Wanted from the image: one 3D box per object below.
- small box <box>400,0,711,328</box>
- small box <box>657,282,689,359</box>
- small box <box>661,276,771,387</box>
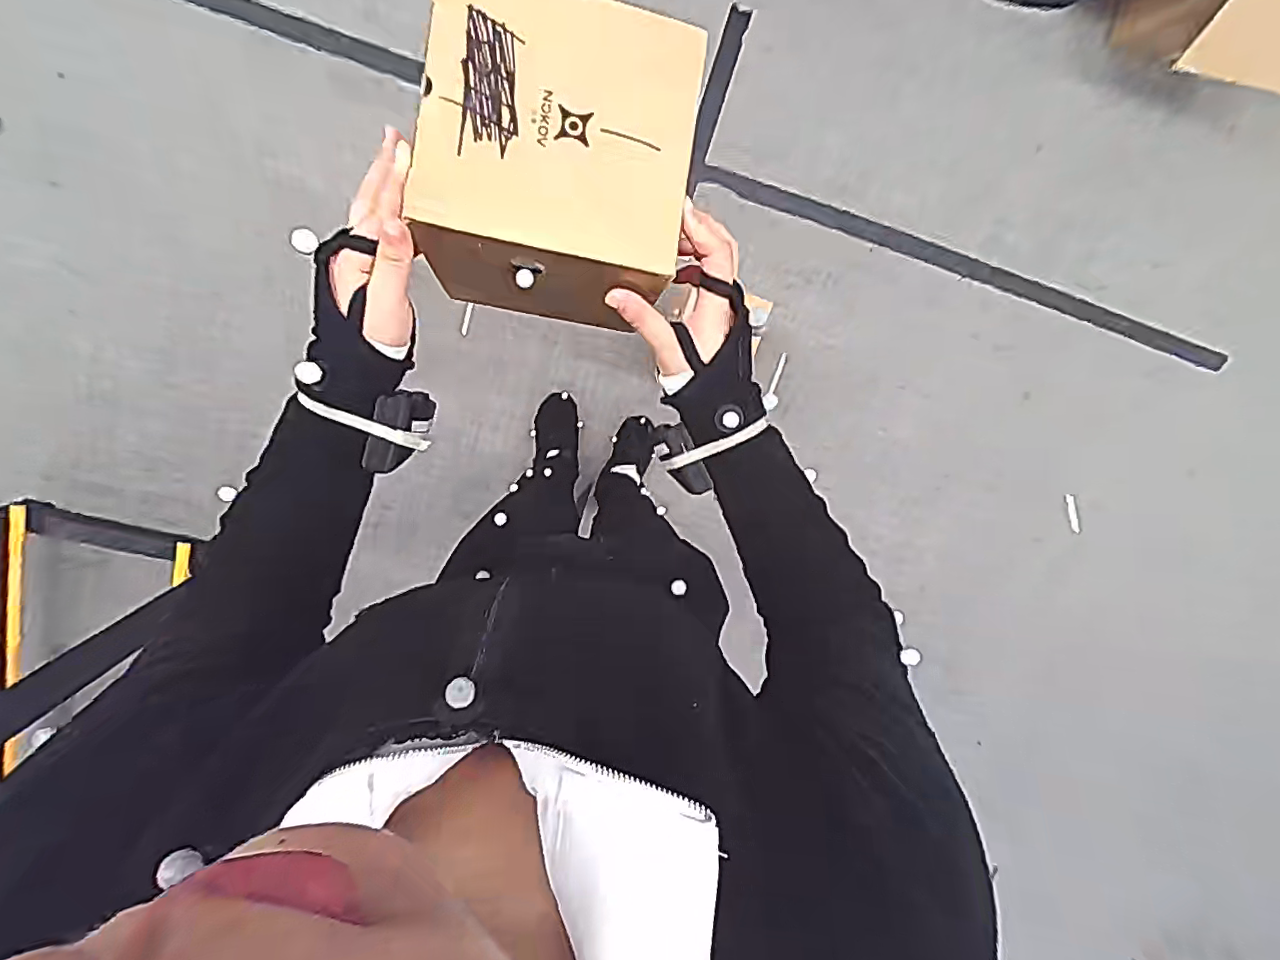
[{"bbox_3d":[-0.062,-0.228,0.421,0.179,0.176,0.168,9,92,-10],"label":"small box"},{"bbox_3d":[0.144,-0.363,1.314,0.168,0.176,0.179,16,104,-9],"label":"small box"},{"bbox_3d":[0.151,-0.314,1.155,0.168,0.176,0.179,17,103,-9],"label":"small box"}]
